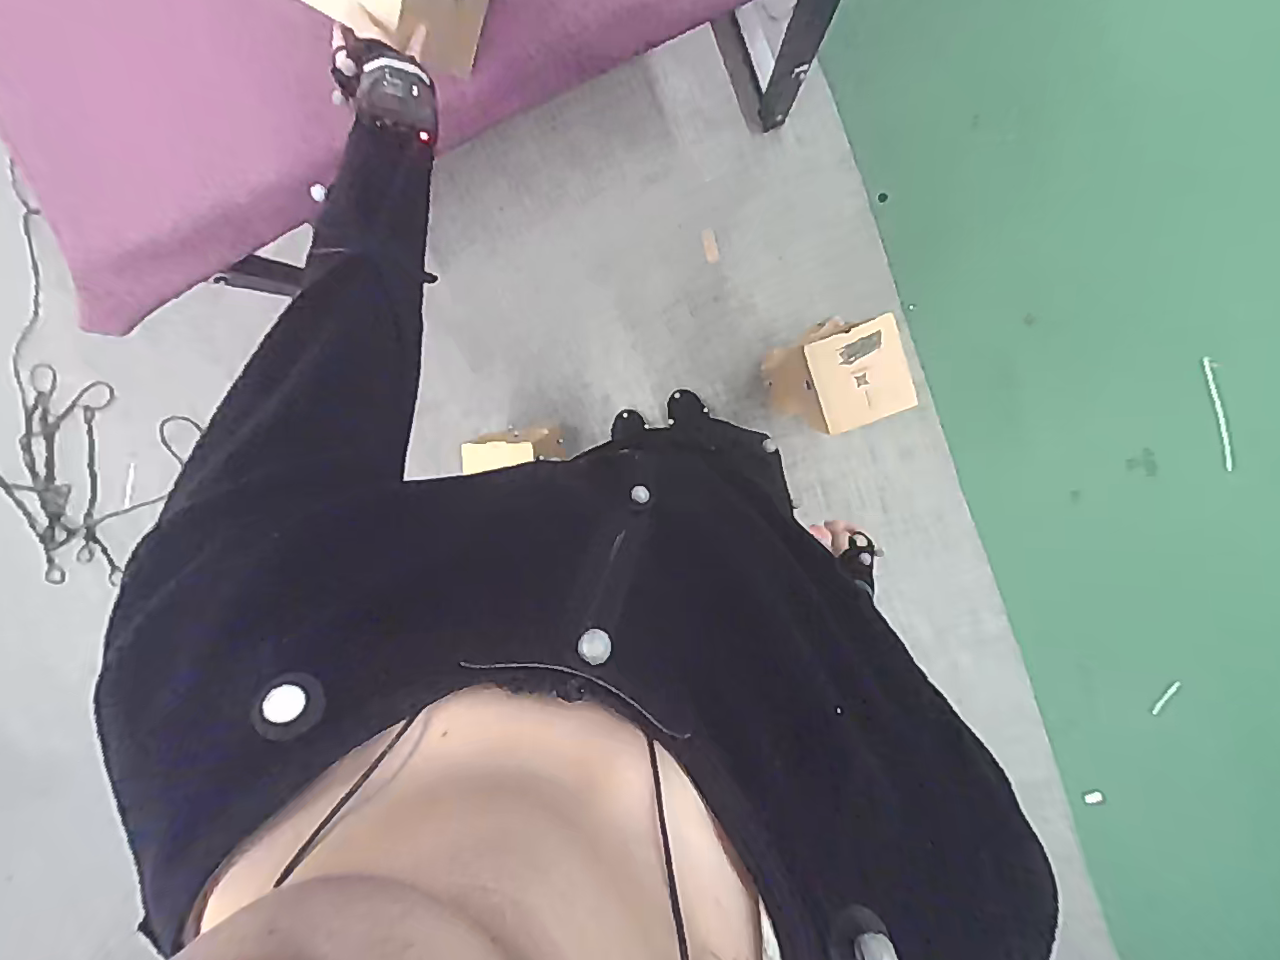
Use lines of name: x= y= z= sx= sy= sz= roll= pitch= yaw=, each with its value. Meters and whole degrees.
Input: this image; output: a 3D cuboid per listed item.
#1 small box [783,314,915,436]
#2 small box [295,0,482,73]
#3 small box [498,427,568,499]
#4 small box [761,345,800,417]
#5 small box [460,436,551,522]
small box: x=0.392 y=-0.200 z=1.042 sx=0.168 sy=0.176 sz=0.179 roll=-20 pitch=101 yaw=6
small box: x=-0.271 y=-0.562 z=0.564 sx=0.179 sy=0.176 sz=0.168 roll=27 pitch=119 yaw=-3
small box: x=-0.296 y=-0.044 z=1.442 sx=0.168 sy=0.176 sz=0.179 roll=-7 pitch=102 yaw=5
small box: x=0.410 y=-0.259 z=1.365 sx=0.179 sy=0.176 sz=0.168 roll=-12 pitch=101 yaw=6
small box: x=-0.311 y=-0.007 z=1.285 sx=0.168 sy=0.176 sz=0.179 roll=-1 pitch=101 yaw=4
